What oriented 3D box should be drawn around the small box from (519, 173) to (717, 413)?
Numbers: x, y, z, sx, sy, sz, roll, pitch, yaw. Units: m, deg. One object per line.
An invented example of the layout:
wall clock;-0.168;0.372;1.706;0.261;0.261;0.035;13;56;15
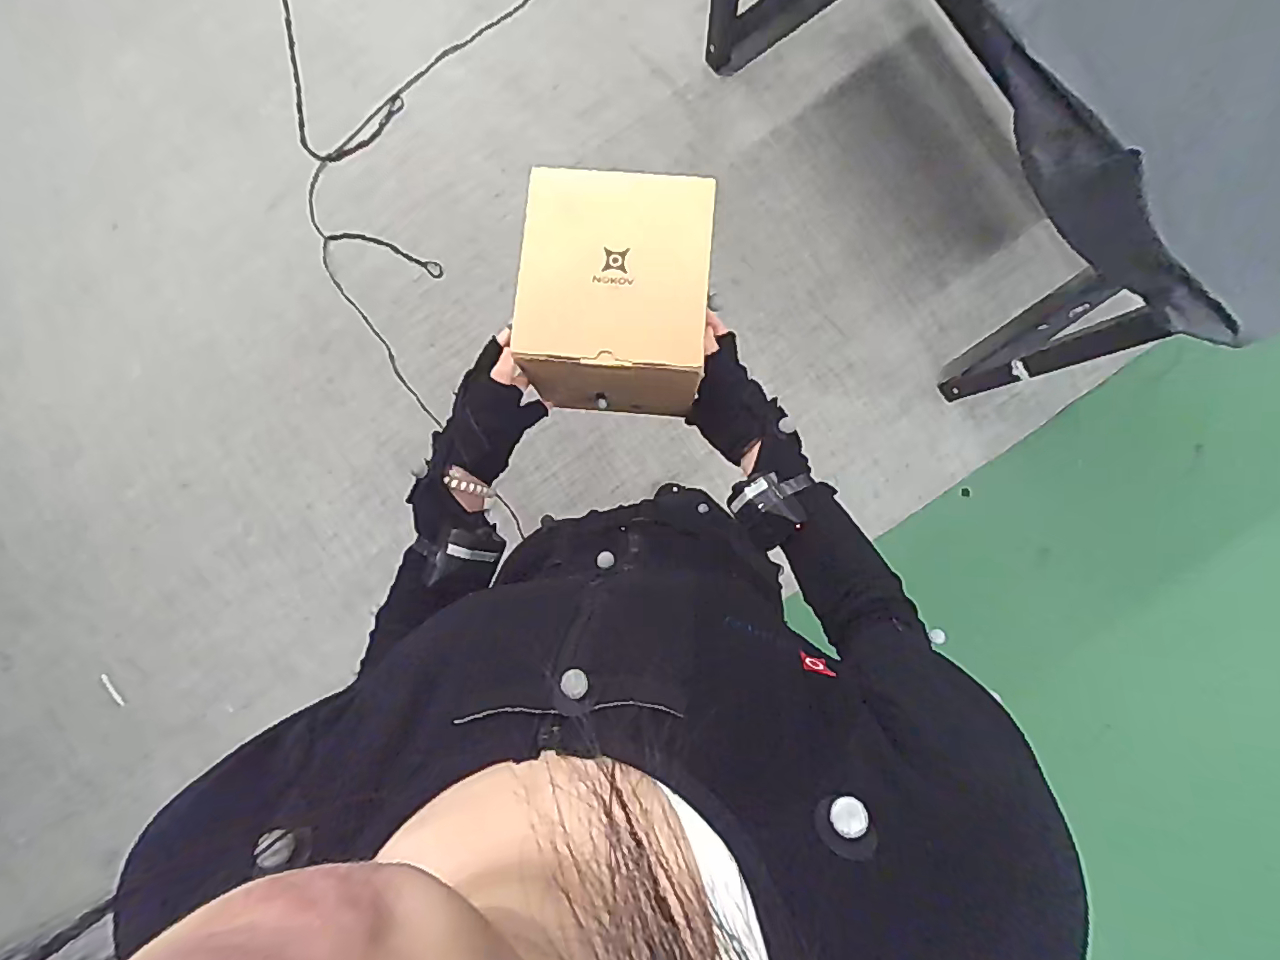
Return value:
small box;-0.018;-0.179;0.561;0.168;0.176;0.179;4;84;2
